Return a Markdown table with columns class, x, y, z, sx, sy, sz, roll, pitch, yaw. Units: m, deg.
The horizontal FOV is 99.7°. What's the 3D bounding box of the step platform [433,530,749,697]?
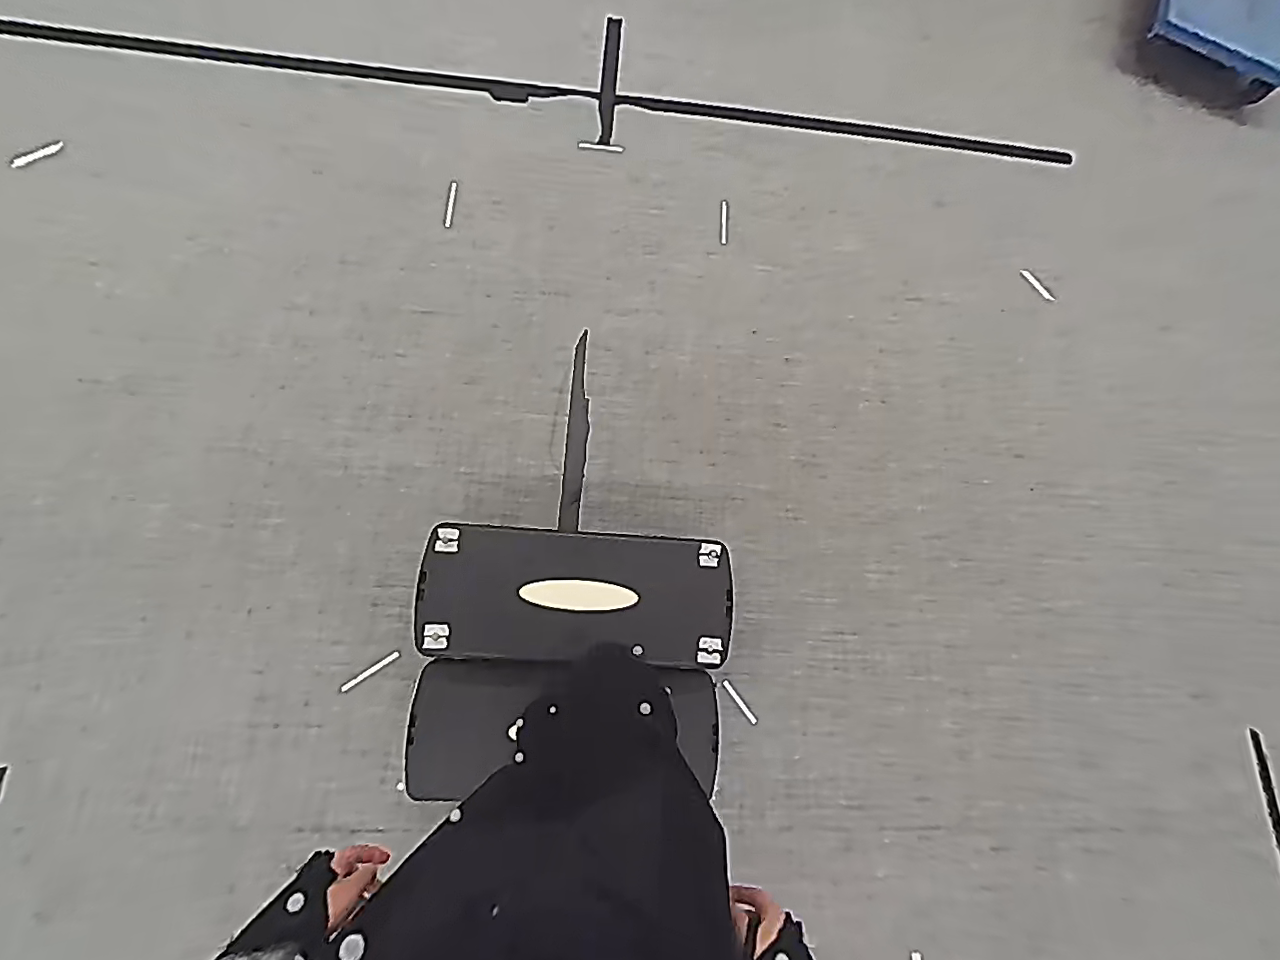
| class | x | y | z | sx | sy | sz | roll | pitch | yaw |
| --- | --- | --- | --- | --- | --- | --- | --- | --- | --- |
| step platform | -0.100 | 0.301 | 1.223 | 0.684 | 0.204 | 0.286 | 9 | 73 | -5 |
